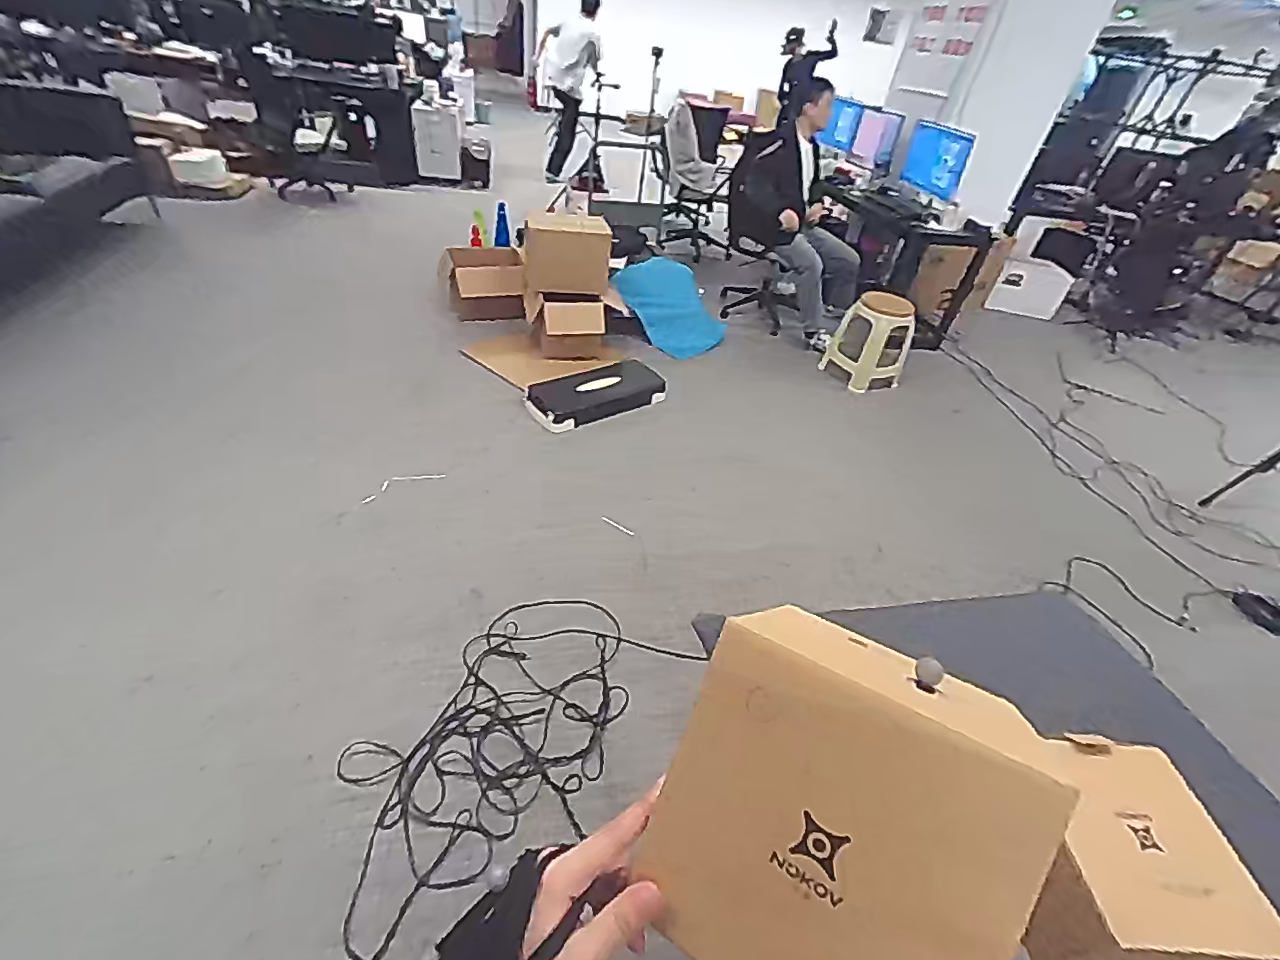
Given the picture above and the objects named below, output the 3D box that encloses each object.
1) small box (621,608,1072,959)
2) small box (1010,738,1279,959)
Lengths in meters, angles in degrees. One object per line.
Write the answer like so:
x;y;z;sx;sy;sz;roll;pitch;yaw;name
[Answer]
0.119;0.192;0.334;0.168;0.179;0.176;20;2;27;small box
0.458;0.393;0.550;0.168;0.176;0.179;6;40;-2;small box
